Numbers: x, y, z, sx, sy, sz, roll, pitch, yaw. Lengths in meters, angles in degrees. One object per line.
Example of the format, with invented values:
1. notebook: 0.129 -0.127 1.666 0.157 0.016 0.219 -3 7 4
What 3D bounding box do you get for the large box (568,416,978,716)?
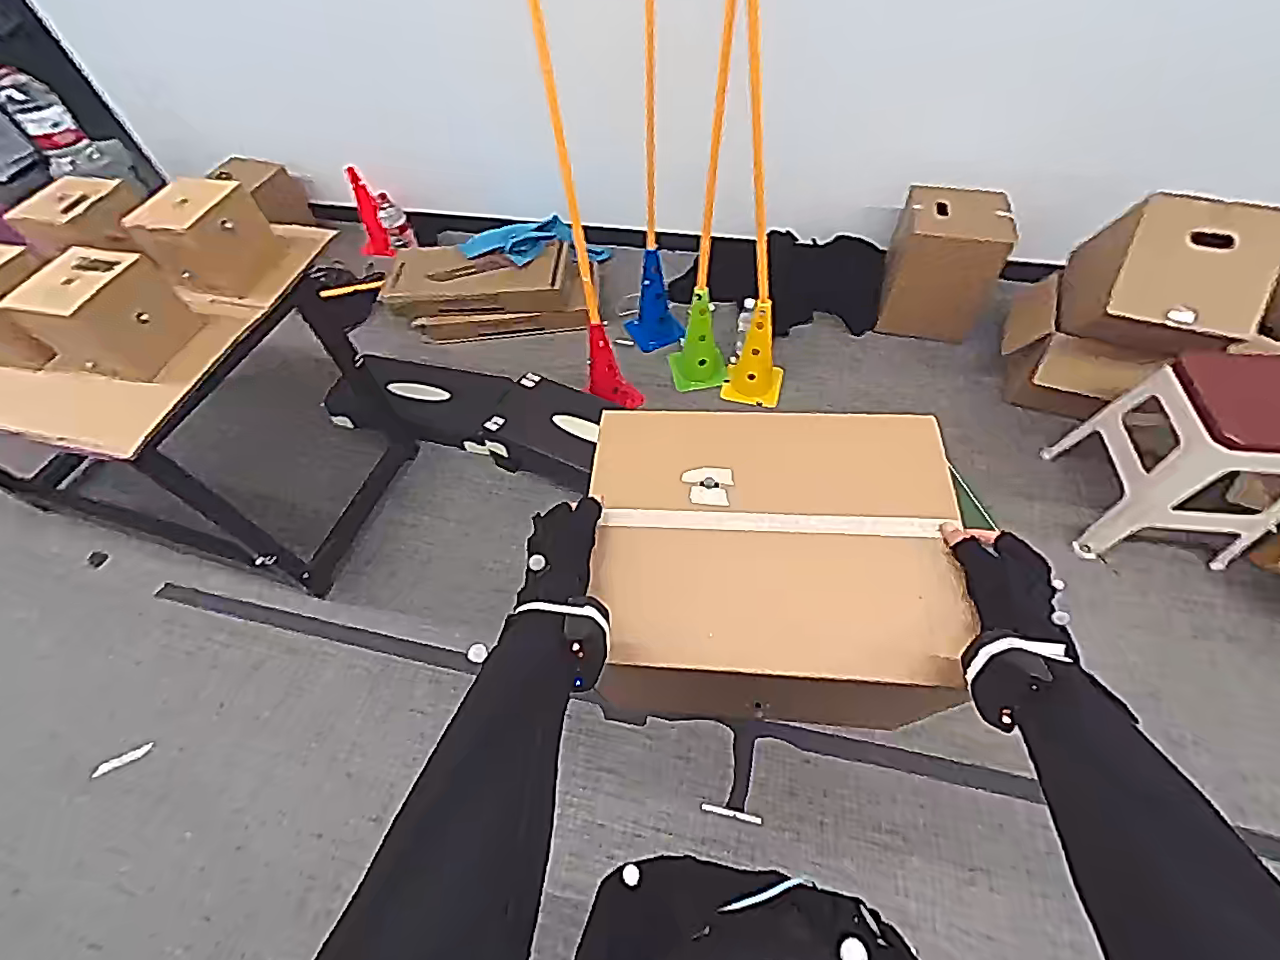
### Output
1. large box: 0.150 0.128 0.731 0.408 0.320 0.320 1 59 8
